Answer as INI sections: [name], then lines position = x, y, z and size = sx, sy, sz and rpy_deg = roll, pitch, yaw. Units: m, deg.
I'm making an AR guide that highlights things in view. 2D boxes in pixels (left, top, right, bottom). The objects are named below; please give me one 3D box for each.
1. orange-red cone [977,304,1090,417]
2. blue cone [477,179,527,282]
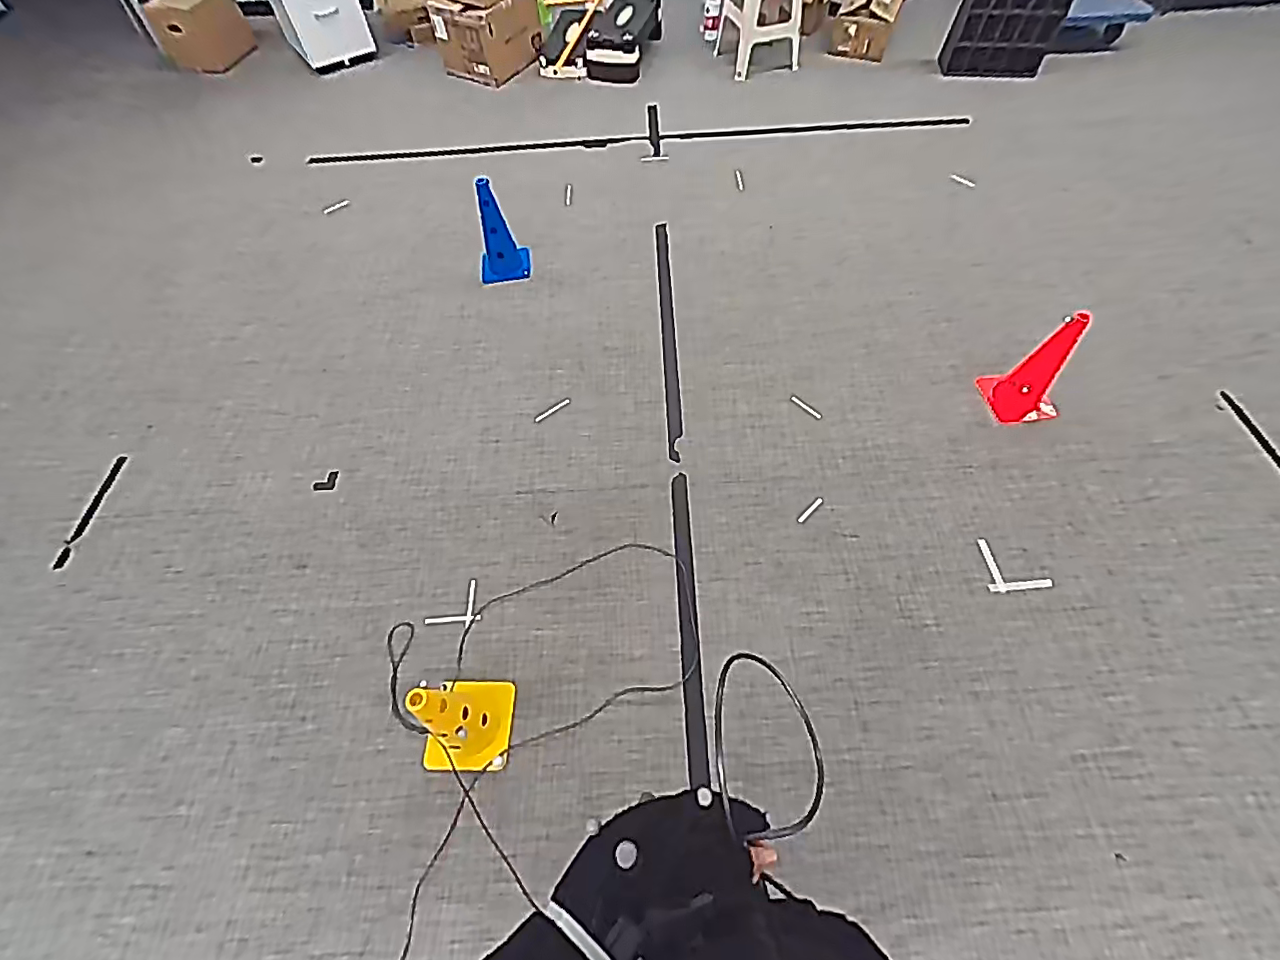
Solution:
[orange-red cone]
position = 1.236, -0.383, 1.649
size = 0.198, 0.360, 0.199
rpy_deg = -7, 57, -2
[blue cone]
position = -0.572, -0.978, 2.107
size = 0.192, 0.380, 0.193
rpy_deg = -7, 58, -2
